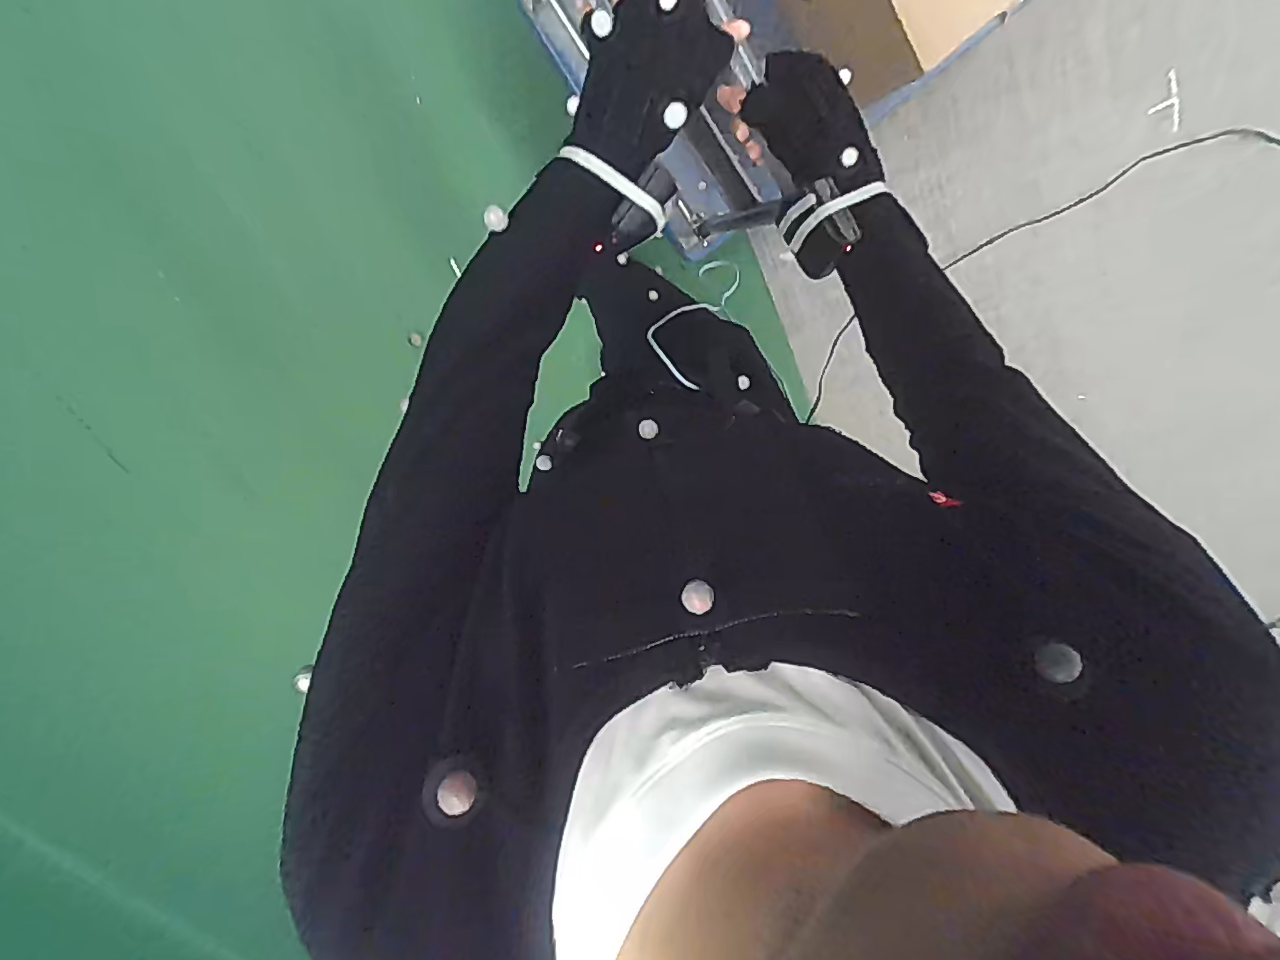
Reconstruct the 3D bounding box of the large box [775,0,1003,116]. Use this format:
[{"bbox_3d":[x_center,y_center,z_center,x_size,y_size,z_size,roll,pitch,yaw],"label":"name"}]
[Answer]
[{"bbox_3d":[0.390,-0.875,0.823,0.320,0.320,0.408,-38,110,11],"label":"large box"}]
